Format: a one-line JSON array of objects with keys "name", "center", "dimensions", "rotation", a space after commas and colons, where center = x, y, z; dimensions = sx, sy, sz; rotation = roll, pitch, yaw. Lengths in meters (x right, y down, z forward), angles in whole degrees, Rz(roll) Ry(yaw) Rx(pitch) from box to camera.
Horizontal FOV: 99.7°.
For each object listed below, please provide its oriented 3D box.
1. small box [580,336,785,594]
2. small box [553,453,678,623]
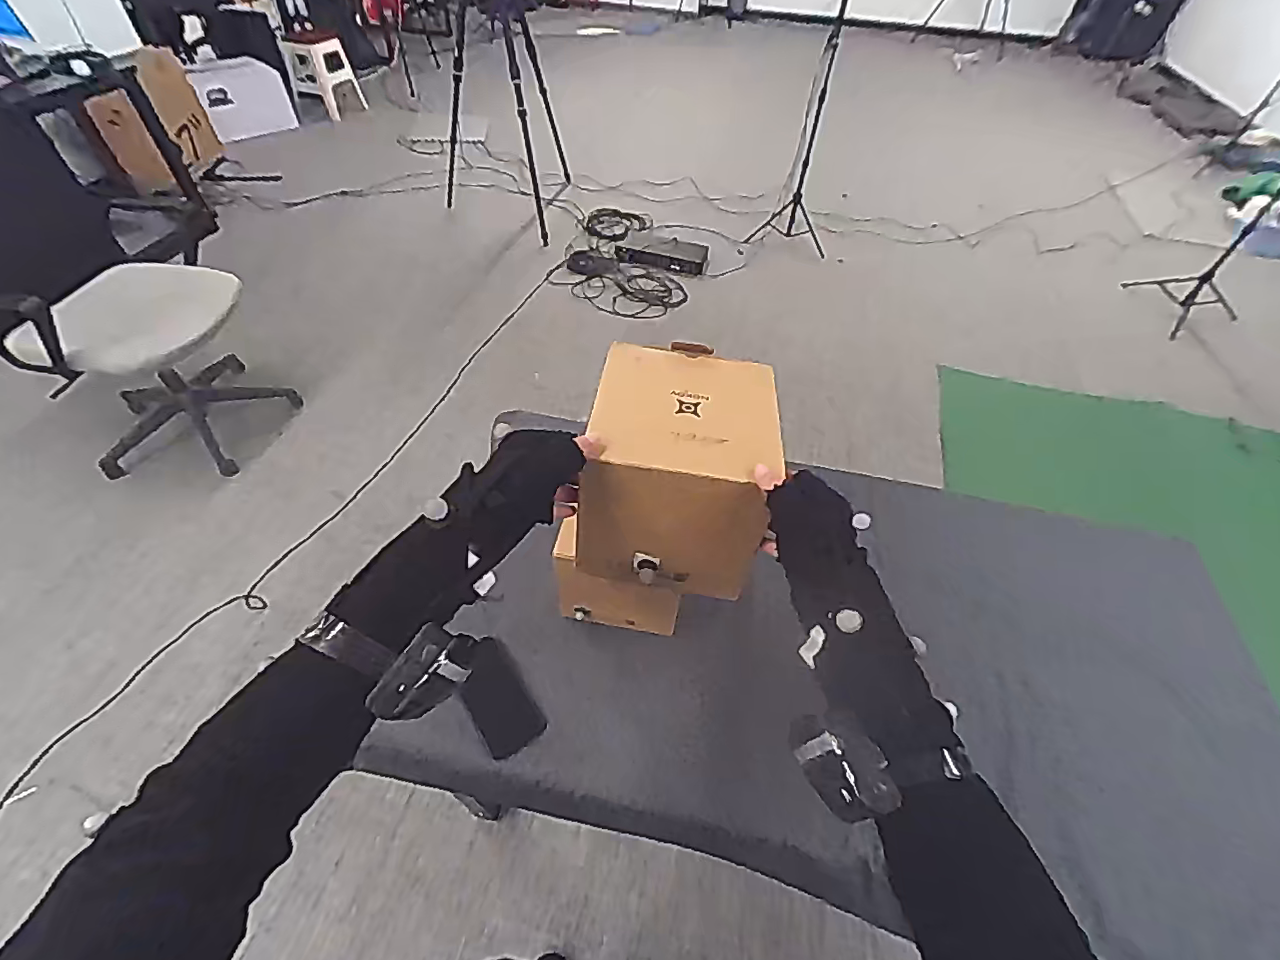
[{"name": "small box", "center": [0.035, -0.014, 0.540], "dimensions": [0.168, 0.176, 0.179], "rotation": [9, 46, 0]}, {"name": "small box", "center": [-0.017, 0.086, 0.781], "dimensions": [0.168, 0.176, 0.179], "rotation": [9, 49, 4]}]
